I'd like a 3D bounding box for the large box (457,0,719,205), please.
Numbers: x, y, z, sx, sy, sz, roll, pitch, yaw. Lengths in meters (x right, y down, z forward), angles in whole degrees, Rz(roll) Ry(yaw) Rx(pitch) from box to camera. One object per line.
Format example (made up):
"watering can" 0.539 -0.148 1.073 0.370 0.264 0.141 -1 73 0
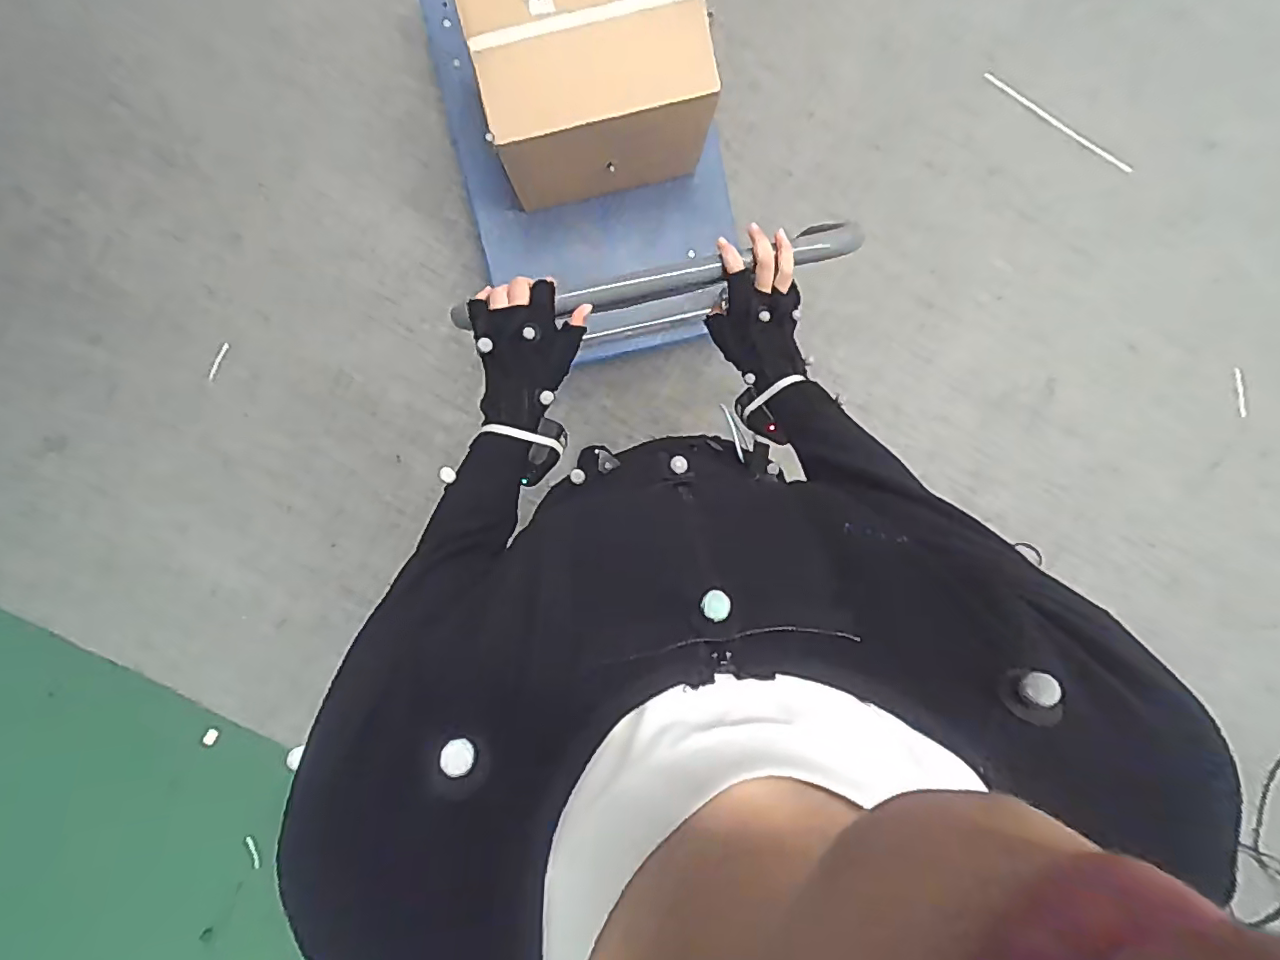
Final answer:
"large box" -0.095 -0.790 1.055 0.408 0.320 0.320 -14 97 0
